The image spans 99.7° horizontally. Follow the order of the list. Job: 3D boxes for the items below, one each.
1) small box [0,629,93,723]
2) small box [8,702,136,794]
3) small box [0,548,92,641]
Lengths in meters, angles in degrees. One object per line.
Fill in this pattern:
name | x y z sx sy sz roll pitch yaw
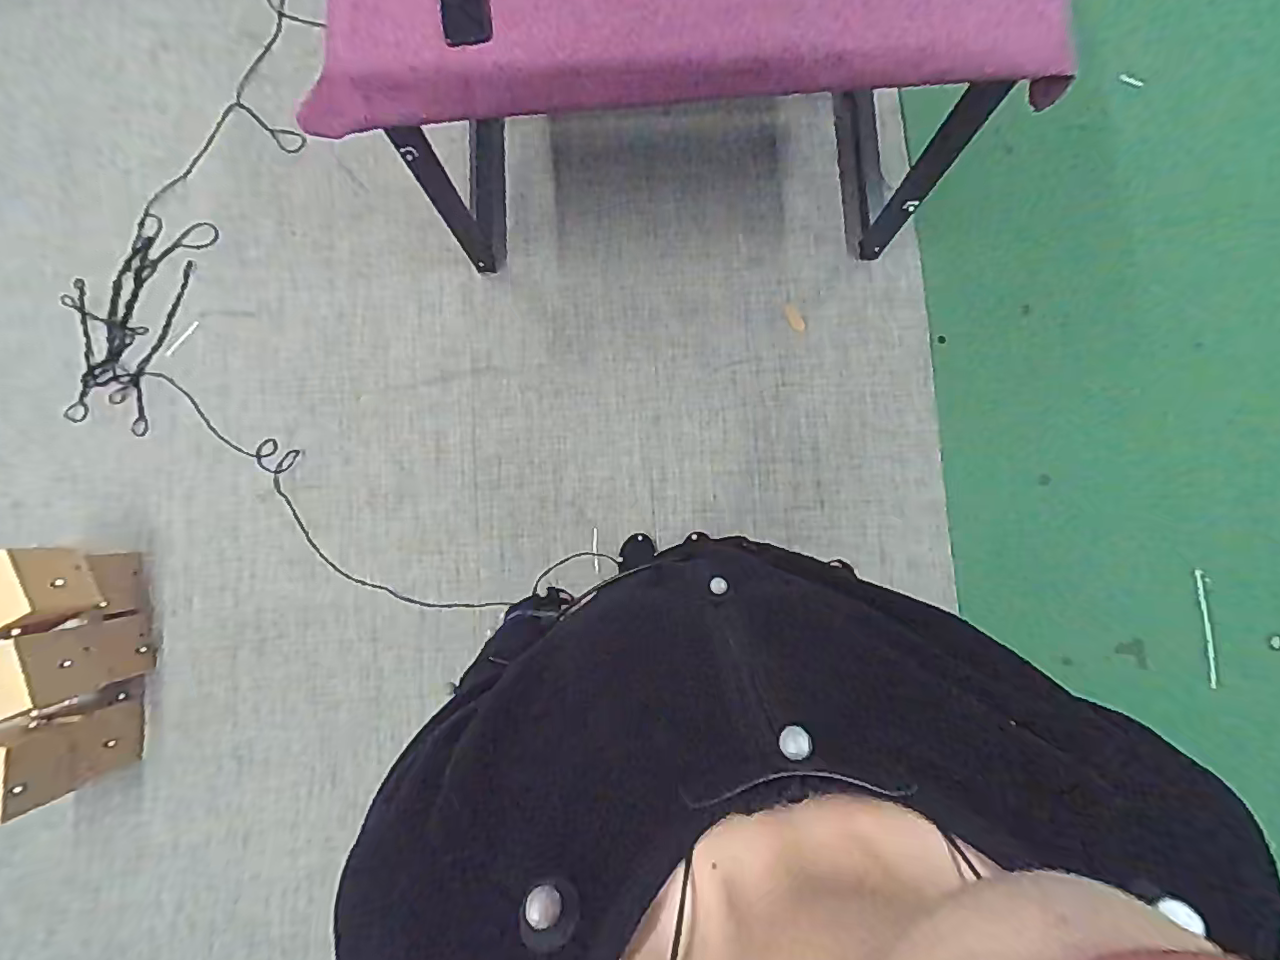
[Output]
small box | -1.457 0.467 1.275 0.179 0.176 0.168 -21 85 0
small box | -1.476 0.691 1.417 0.168 0.176 0.179 -4 85 2
small box | -1.481 0.272 1.294 0.179 0.176 0.168 -29 85 -1
